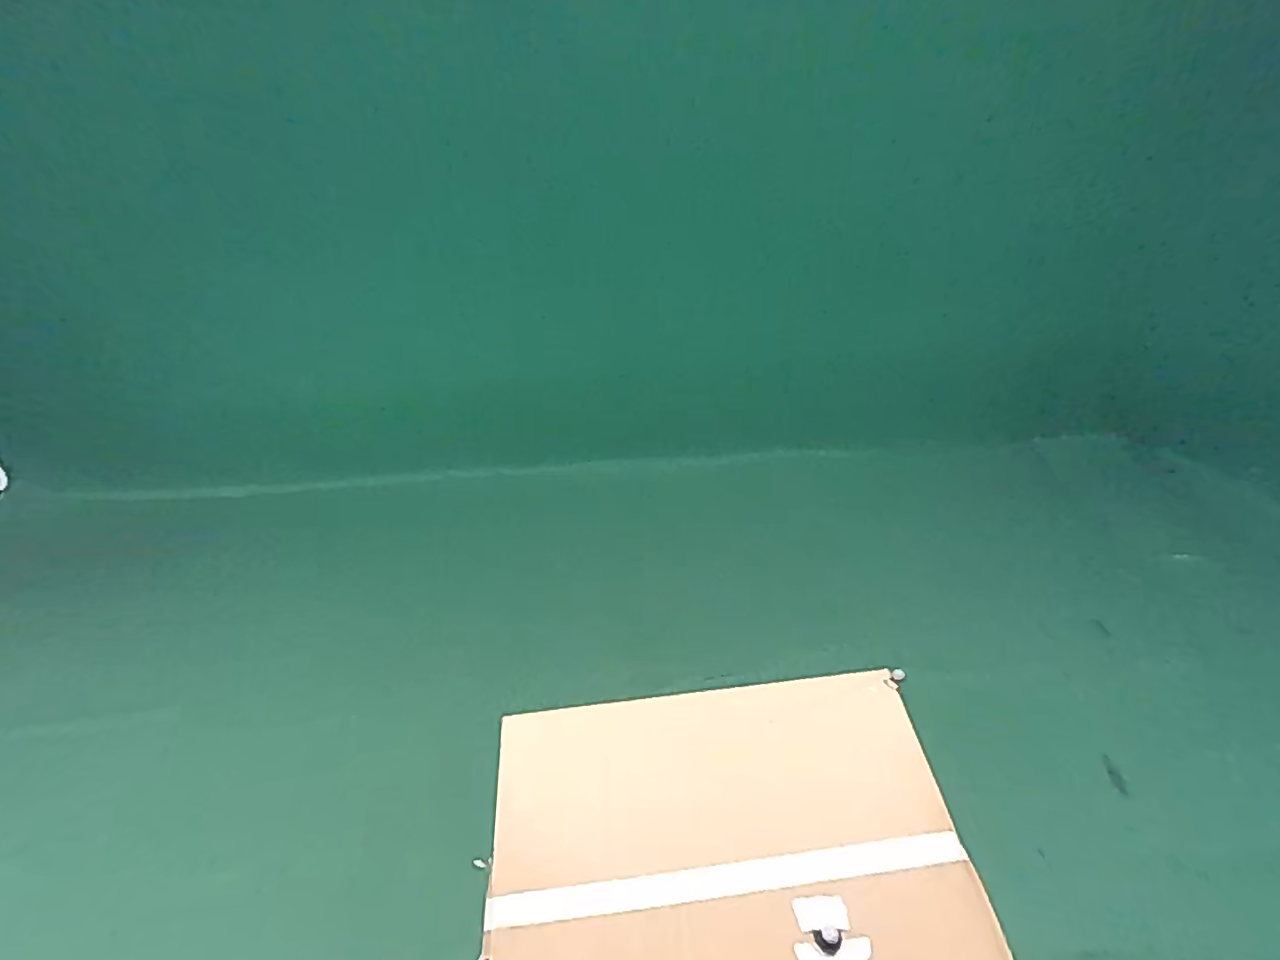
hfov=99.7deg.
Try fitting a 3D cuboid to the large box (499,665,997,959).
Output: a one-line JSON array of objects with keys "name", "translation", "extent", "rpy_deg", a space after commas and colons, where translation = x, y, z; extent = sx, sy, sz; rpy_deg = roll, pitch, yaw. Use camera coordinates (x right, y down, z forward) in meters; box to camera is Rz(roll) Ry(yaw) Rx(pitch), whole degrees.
[{"name": "large box", "translation": [0.079, 0.433, 0.584], "extent": [0.408, 0.320, 0.320], "rpy_deg": [-6, 50, -3]}]
